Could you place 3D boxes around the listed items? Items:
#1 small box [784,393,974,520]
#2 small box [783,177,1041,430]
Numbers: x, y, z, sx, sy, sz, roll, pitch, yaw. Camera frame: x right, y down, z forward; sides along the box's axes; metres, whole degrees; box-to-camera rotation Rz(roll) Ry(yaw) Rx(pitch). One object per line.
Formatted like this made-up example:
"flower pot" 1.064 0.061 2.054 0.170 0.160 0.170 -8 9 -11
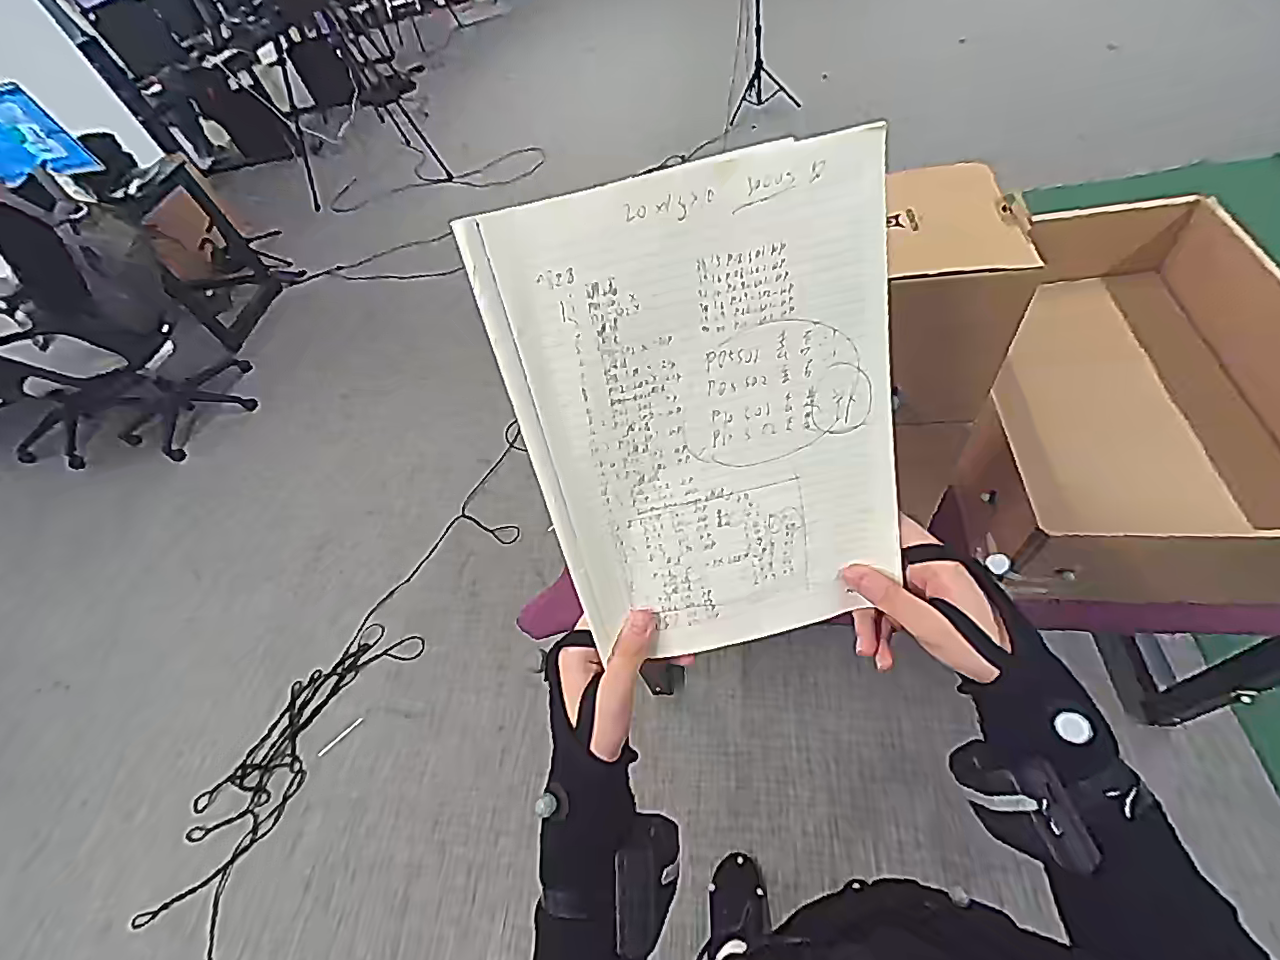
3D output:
"small box" 0.268 -0.063 0.654 0.179 0.176 0.168 -1 52 14
"small box" 0.236 -0.162 0.526 0.179 0.176 0.168 -1 52 12
